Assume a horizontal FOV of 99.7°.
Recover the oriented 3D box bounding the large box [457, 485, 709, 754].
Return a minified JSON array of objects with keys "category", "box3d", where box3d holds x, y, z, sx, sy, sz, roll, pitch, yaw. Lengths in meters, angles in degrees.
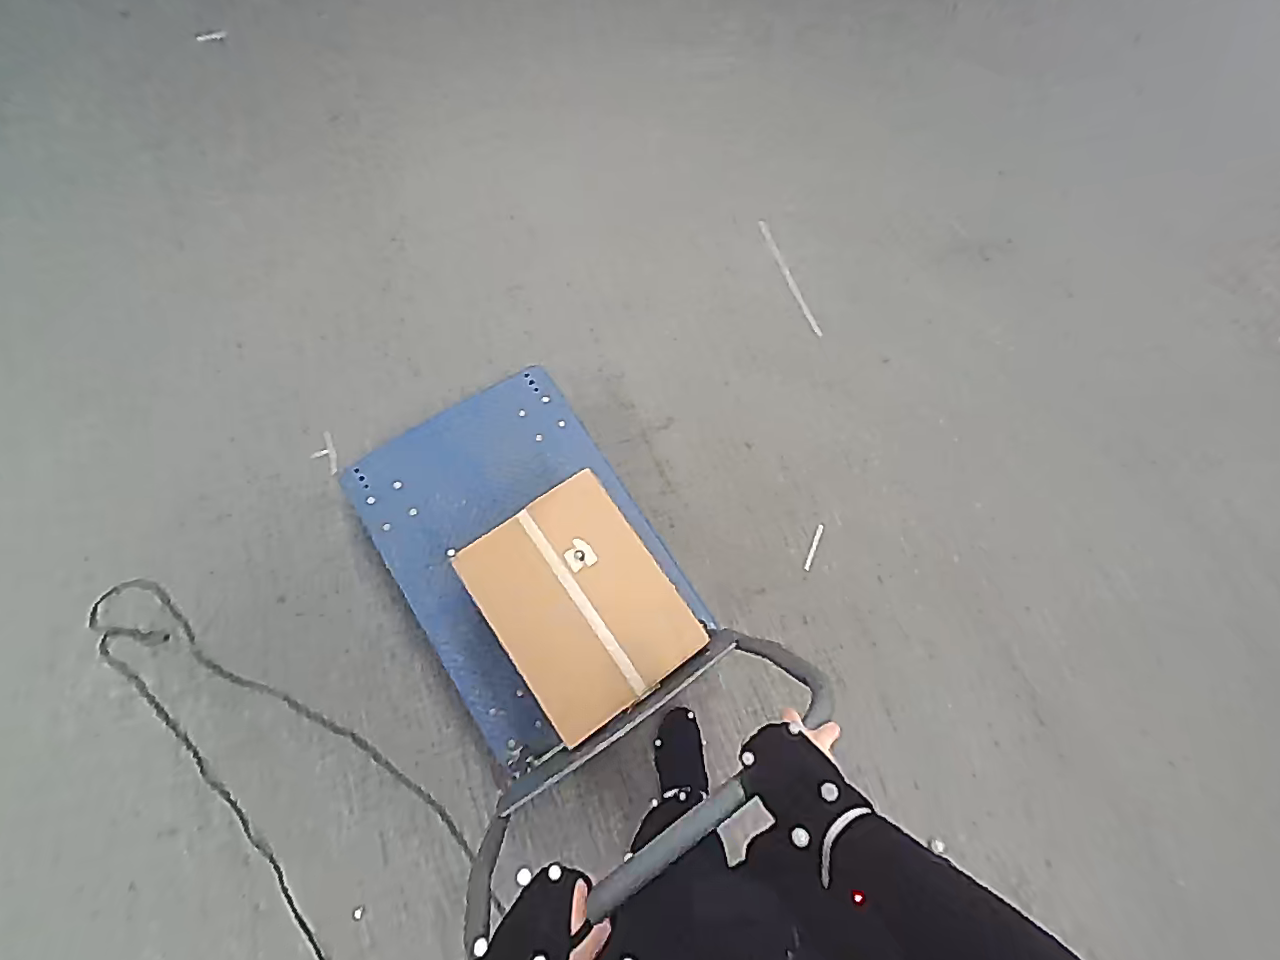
[{"category":"large box","box3d":[-0.113,0.287,1.154,0.320,0.320,0.408,-34,78,-12]}]
